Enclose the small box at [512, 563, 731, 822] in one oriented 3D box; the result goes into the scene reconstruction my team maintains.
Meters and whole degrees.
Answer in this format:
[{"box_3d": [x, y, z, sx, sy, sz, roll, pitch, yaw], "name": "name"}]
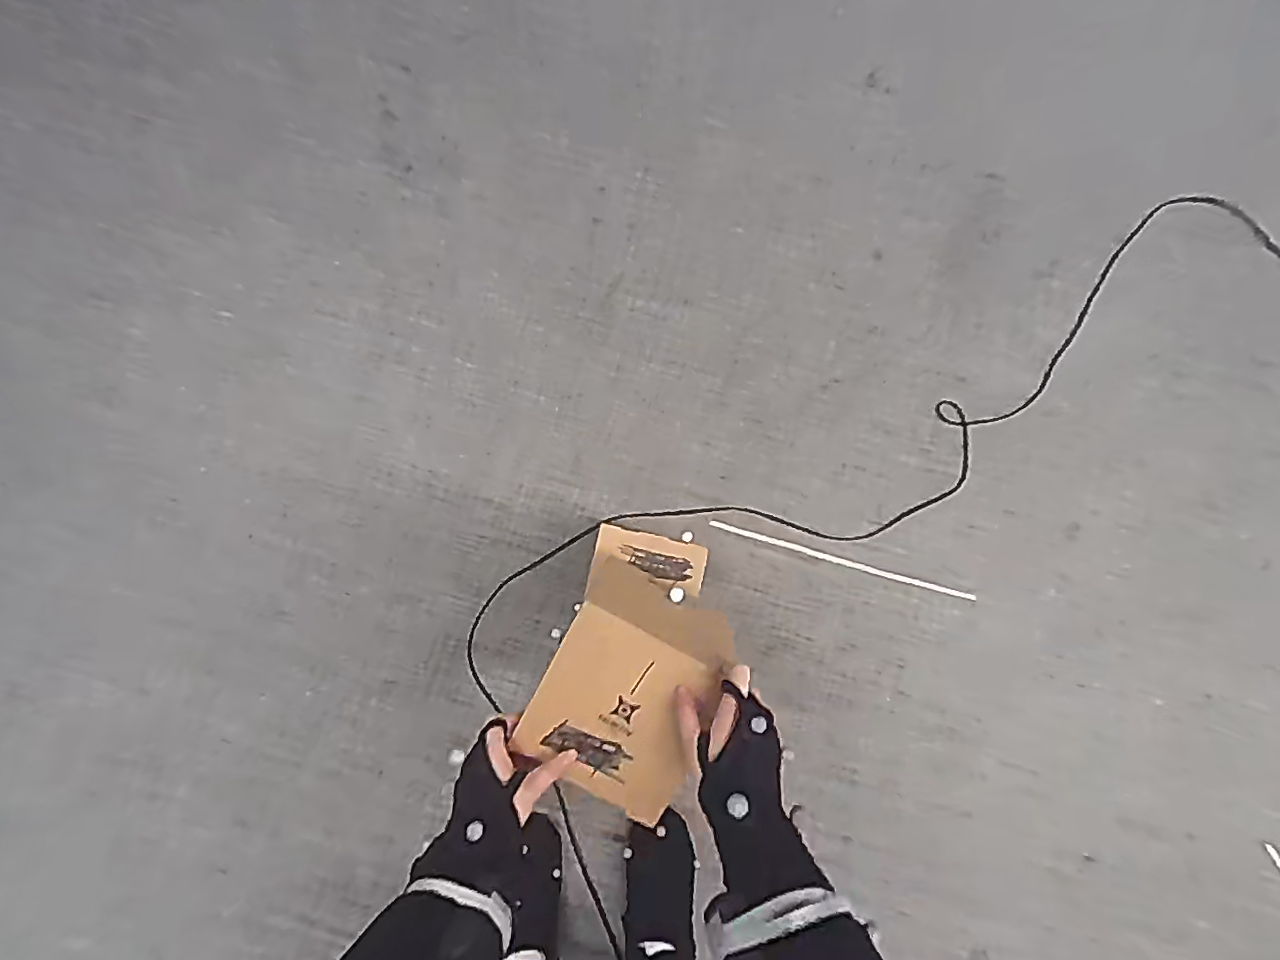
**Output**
[{"box_3d": [-0.012, 0.219, 0.606, 0.168, 0.176, 0.179, 27, 98, 2], "name": "small box"}]
